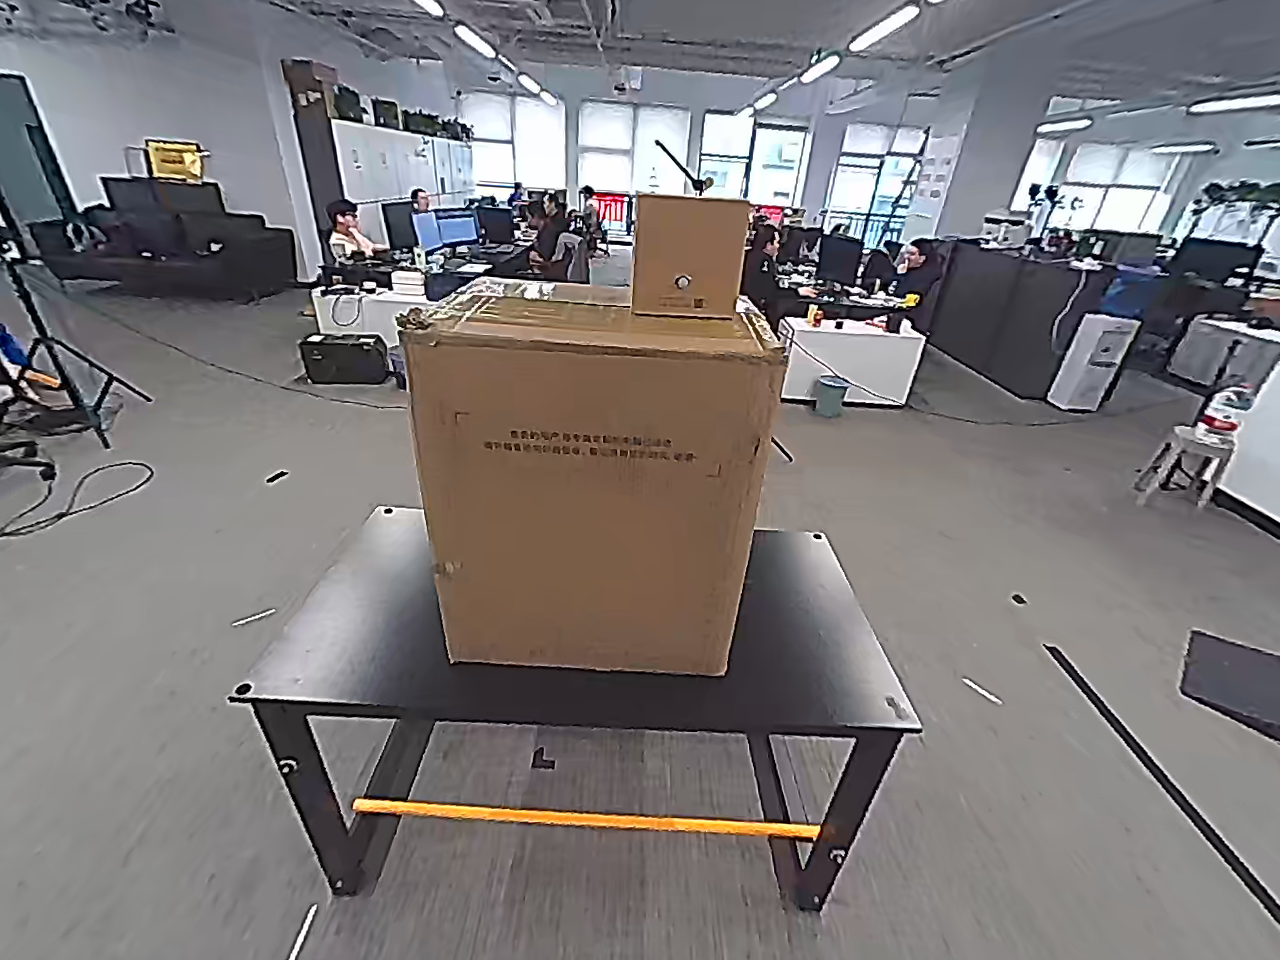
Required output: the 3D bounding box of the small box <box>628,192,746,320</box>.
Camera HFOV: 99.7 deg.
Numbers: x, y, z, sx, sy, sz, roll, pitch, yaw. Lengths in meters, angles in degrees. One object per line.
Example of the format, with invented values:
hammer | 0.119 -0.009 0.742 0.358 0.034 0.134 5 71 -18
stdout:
small box | 0.066 -0.366 0.880 0.168 0.176 0.179 1 29 -3
